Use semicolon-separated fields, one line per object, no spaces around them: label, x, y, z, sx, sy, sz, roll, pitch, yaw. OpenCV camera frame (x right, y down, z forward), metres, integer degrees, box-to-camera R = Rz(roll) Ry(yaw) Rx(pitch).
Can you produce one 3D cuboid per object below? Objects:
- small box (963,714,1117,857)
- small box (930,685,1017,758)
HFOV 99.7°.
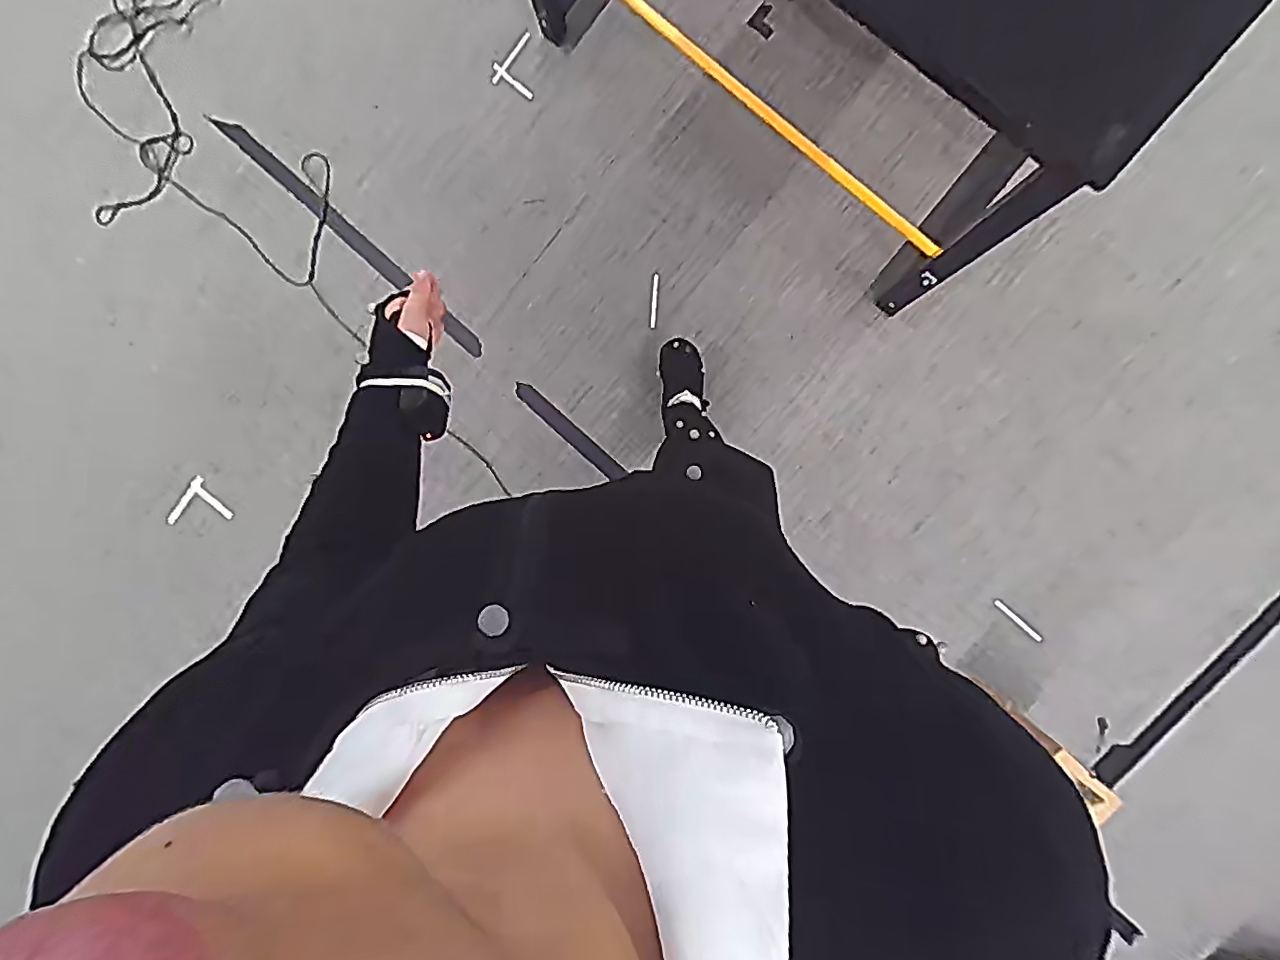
small box;0.861;0.655;1.185;0.168;0.176;0.179;43;96;1
small box;0.871;0.640;1.350;0.179;0.176;0.168;43;95;2
